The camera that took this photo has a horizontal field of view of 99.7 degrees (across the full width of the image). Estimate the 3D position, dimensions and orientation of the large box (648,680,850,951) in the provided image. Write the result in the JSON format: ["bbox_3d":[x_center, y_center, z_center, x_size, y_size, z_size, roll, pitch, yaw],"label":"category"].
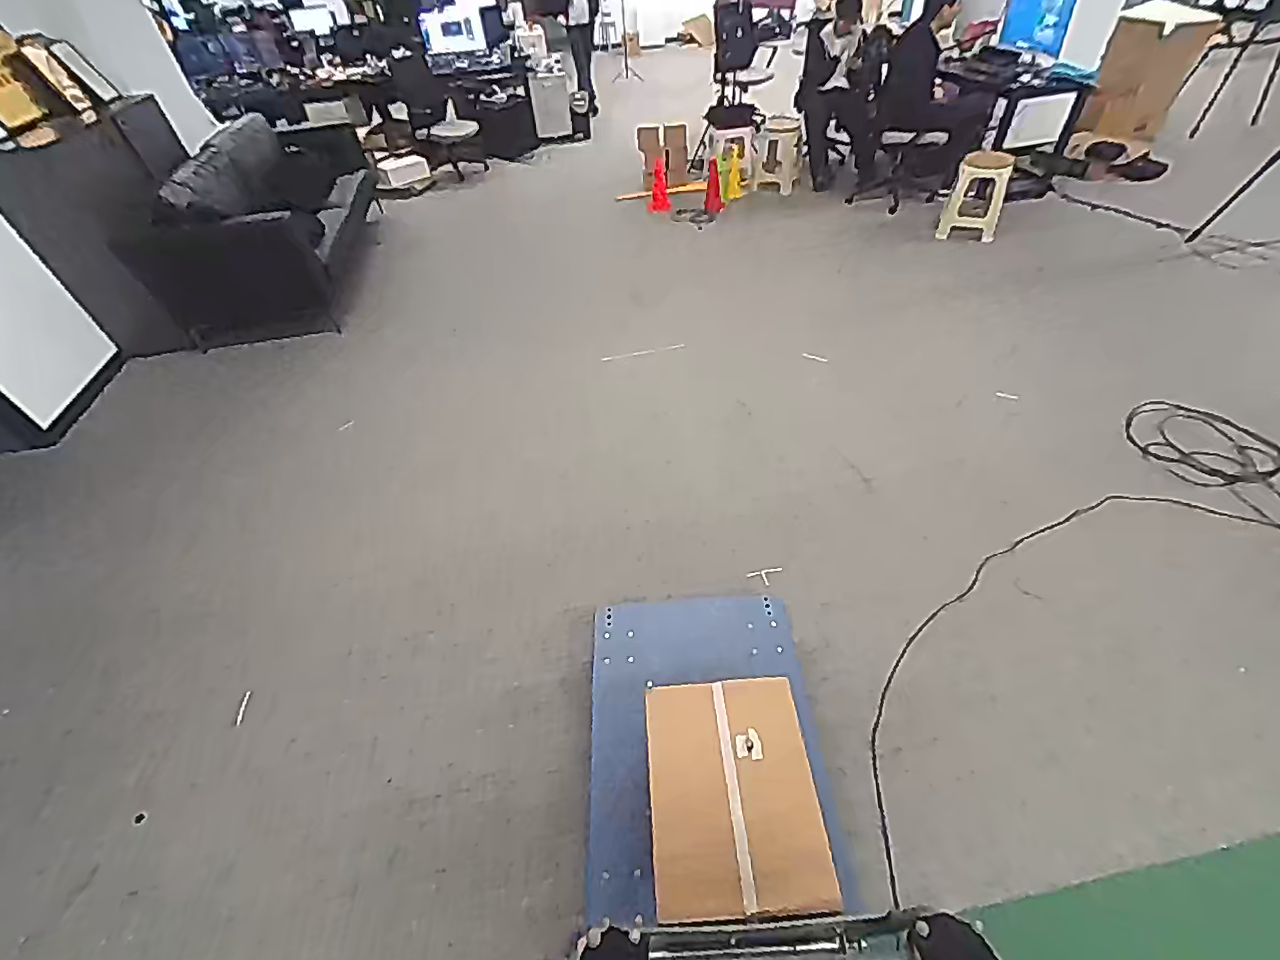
[{"bbox_3d":[0.192,0.688,1.122,0.320,0.320,0.408,-5,44,0],"label":"large box"}]
